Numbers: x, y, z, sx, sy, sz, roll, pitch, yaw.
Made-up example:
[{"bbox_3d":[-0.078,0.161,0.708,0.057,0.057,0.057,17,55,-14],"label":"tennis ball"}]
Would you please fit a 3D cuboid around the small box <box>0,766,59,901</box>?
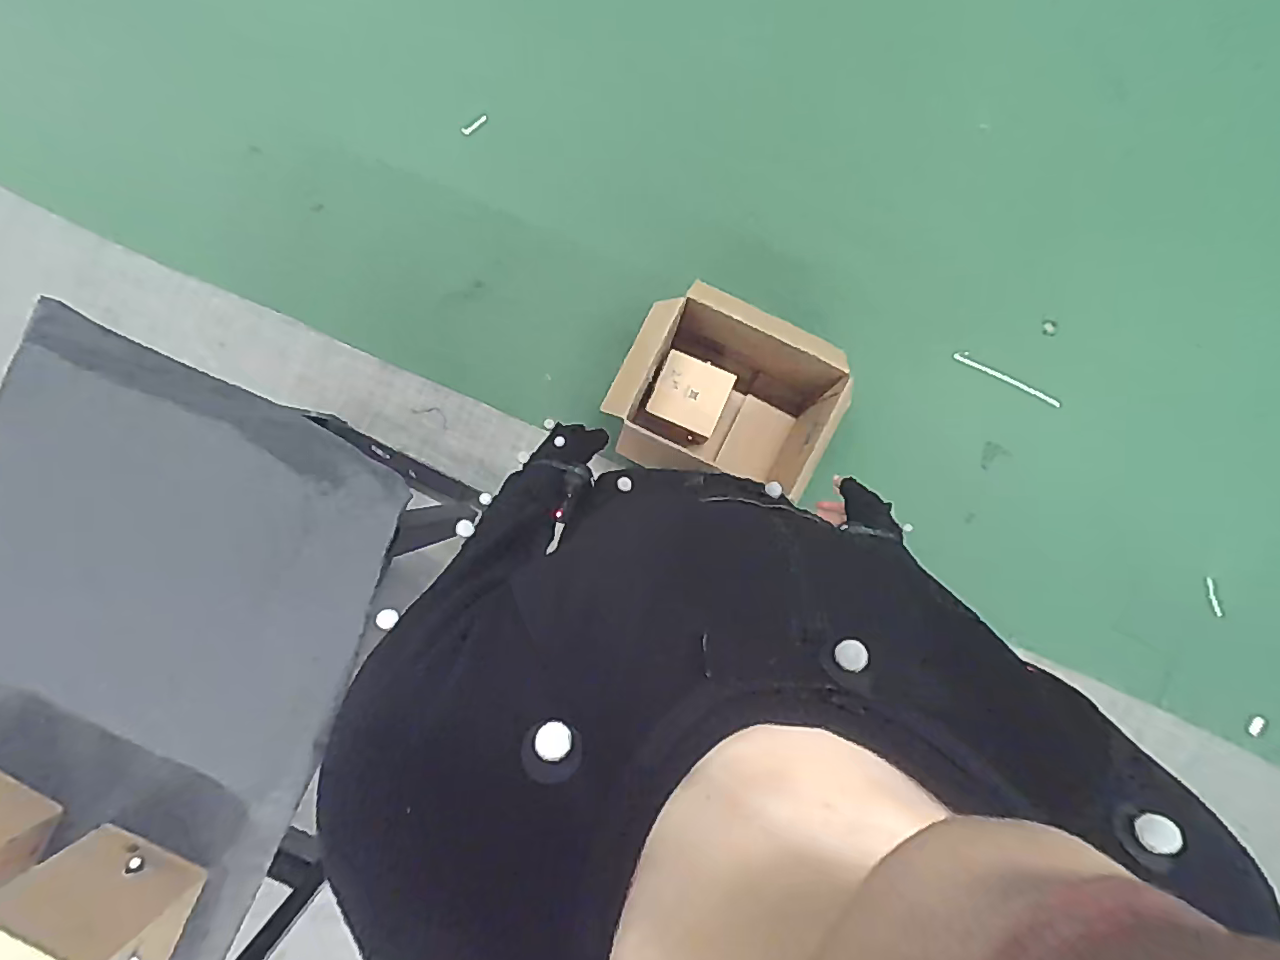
[{"bbox_3d":[-0.932,0.491,0.693,0.179,0.176,0.168,30,90,1],"label":"small box"}]
